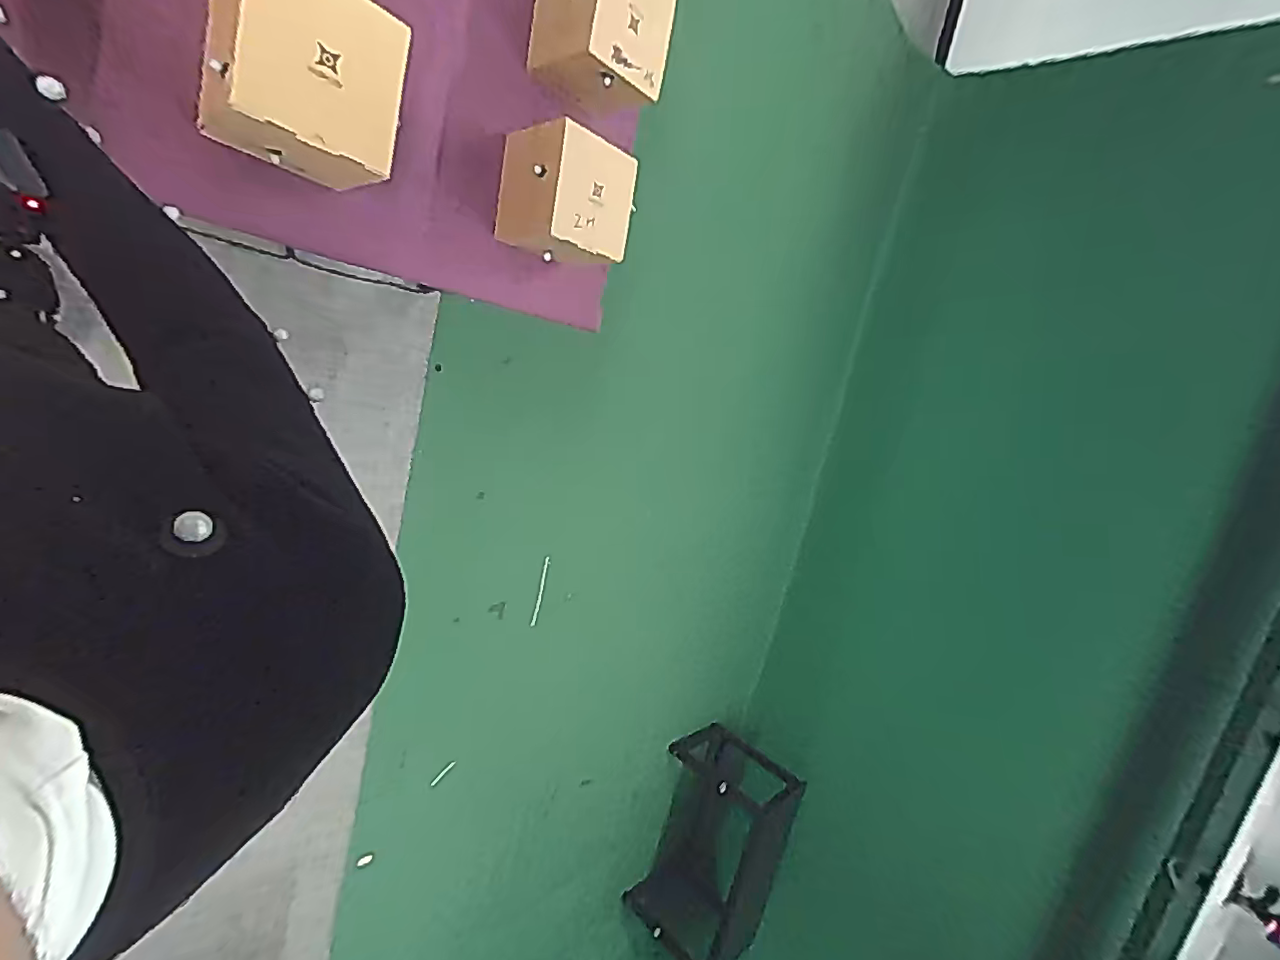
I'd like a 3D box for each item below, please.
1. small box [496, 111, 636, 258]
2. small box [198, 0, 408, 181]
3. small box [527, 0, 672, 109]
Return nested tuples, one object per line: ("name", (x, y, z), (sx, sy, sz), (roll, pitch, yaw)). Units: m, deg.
("small box", (-0.133, -0.502, 0.948), (0.168, 0.176, 0.179), (-1, 106, -48))
("small box", (-0.406, -0.486, 0.648), (0.168, 0.176, 0.179), (2, 104, -49))
("small box", (-0.070, -0.766, 0.909), (0.168, 0.176, 0.179), (-2, 108, -48))
